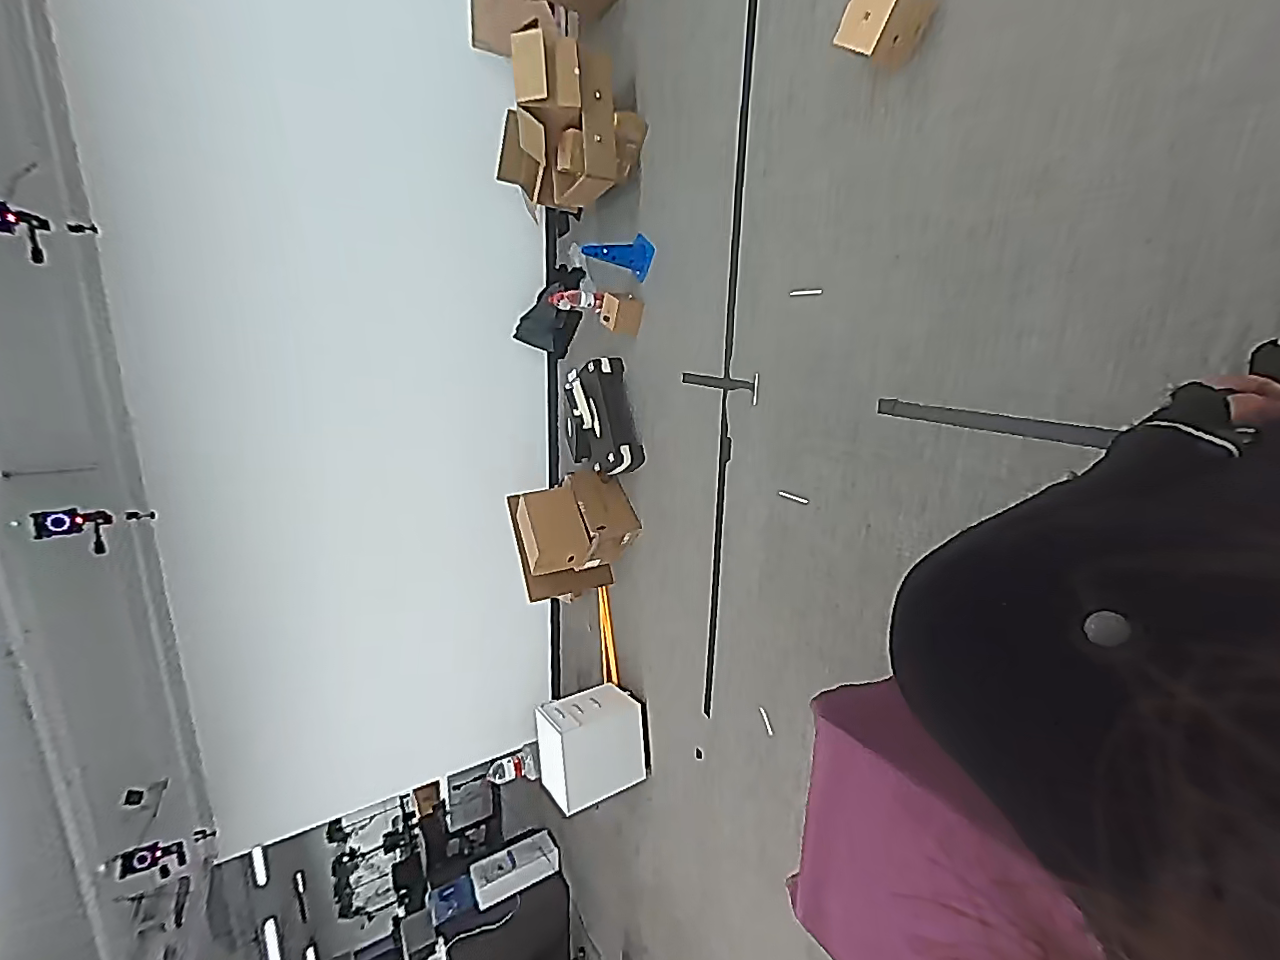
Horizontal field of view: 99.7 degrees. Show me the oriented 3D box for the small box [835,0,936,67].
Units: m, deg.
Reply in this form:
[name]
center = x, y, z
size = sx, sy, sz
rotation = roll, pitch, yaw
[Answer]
[small box]
center = 0.731, -1.359, 1.605
size = 0.179, 0.176, 0.168
rotation = 58, 141, 36
